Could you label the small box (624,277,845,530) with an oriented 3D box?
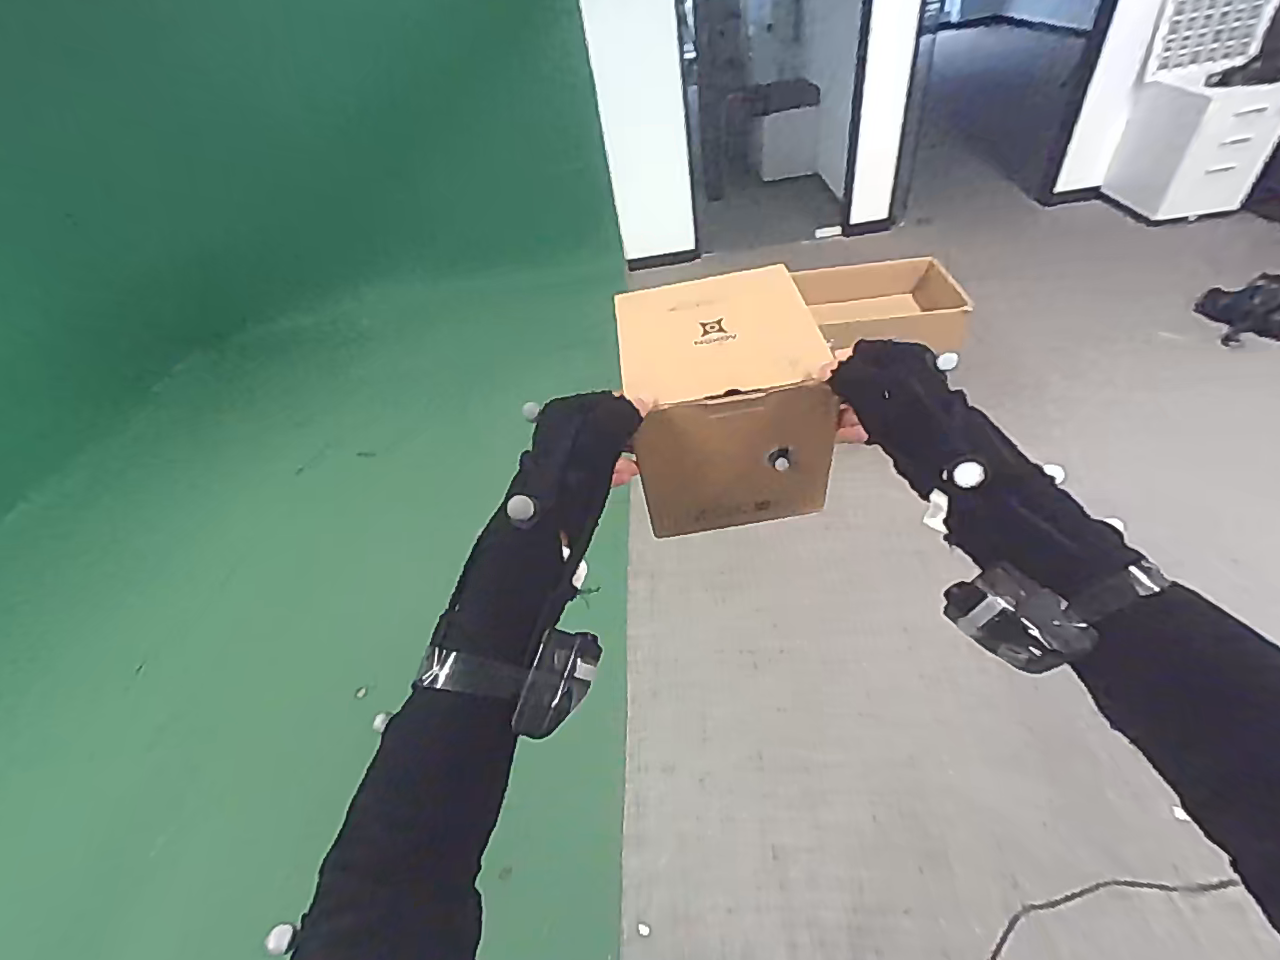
[{"bbox_3d":[0.082,-0.066,0.522,0.168,0.176,0.179,-9,46,3],"label":"small box"}]
